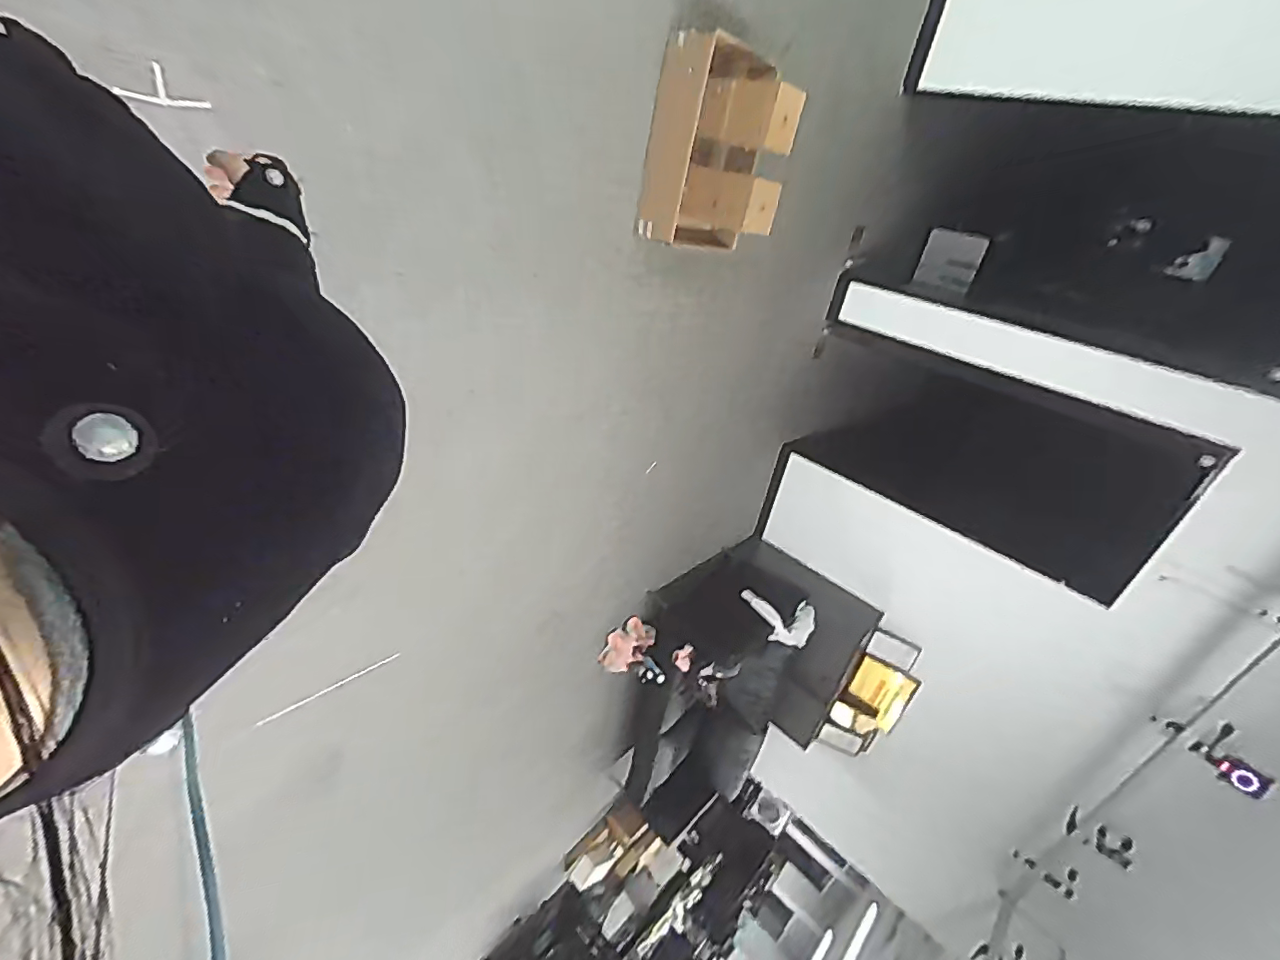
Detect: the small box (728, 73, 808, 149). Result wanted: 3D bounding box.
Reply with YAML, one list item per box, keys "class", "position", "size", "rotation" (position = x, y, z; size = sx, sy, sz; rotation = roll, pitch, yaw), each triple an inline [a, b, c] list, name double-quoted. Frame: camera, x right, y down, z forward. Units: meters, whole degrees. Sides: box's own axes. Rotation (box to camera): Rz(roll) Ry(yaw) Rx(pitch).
- class: "small box"
  position: [0.409, -1.195, 1.749]
  size: [0.168, 0.176, 0.179]
  rotation: [-21, 134, -42]

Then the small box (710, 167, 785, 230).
- class: "small box"
  position: [0.367, -0.978, 1.877]
  size: [0.179, 0.176, 0.168]
  rotation: [-19, 131, -43]
